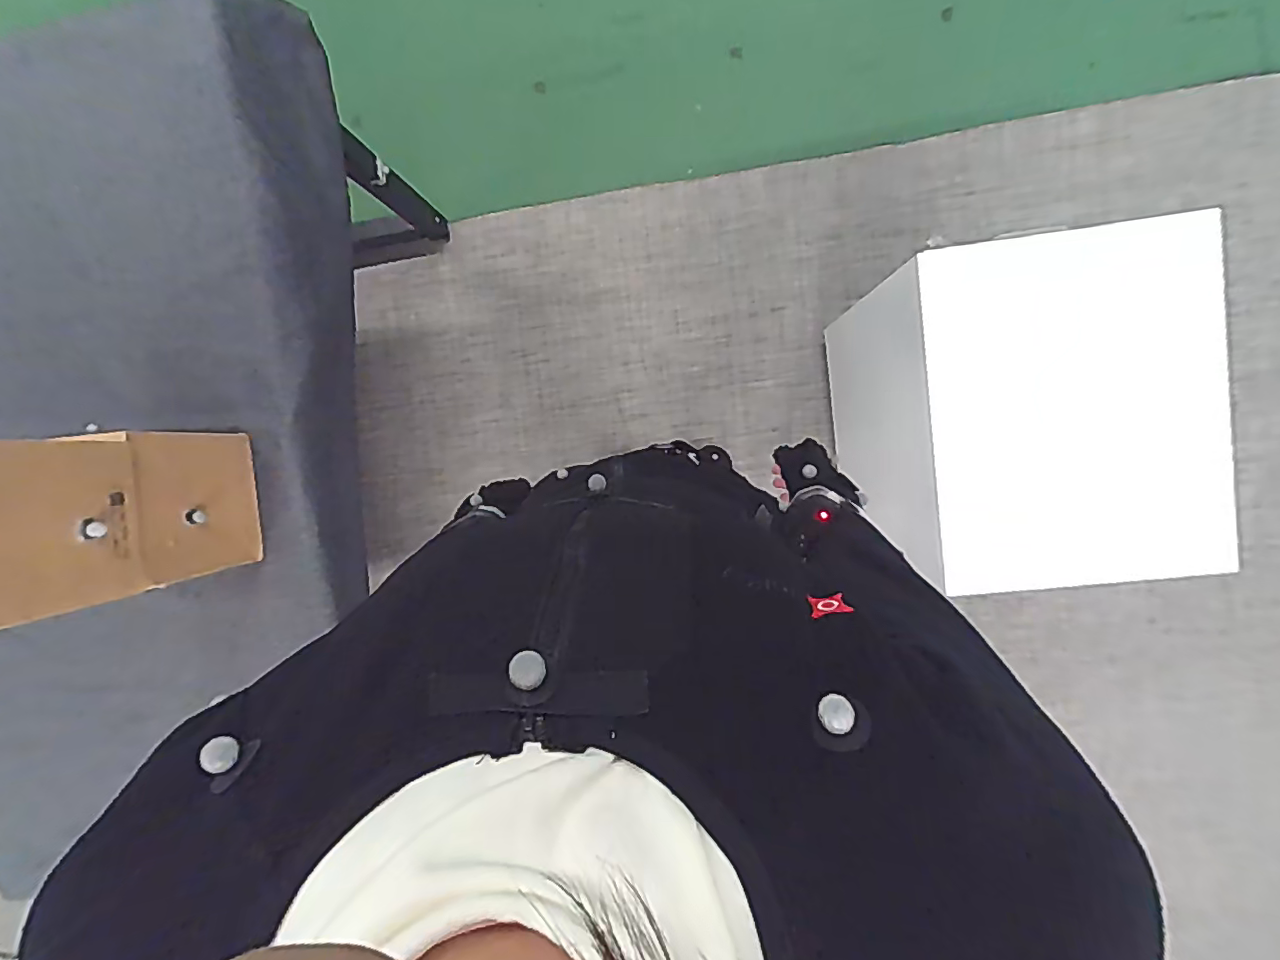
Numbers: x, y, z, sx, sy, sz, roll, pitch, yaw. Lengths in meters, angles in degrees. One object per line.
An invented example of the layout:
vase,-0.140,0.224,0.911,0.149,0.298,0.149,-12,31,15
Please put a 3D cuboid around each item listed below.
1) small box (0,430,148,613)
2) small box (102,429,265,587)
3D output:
small box,-0.639,0.041,0.522,0.179,0.176,0.168,-4,93,8
small box,-0.616,0.029,0.685,0.168,0.176,0.179,-4,94,7
